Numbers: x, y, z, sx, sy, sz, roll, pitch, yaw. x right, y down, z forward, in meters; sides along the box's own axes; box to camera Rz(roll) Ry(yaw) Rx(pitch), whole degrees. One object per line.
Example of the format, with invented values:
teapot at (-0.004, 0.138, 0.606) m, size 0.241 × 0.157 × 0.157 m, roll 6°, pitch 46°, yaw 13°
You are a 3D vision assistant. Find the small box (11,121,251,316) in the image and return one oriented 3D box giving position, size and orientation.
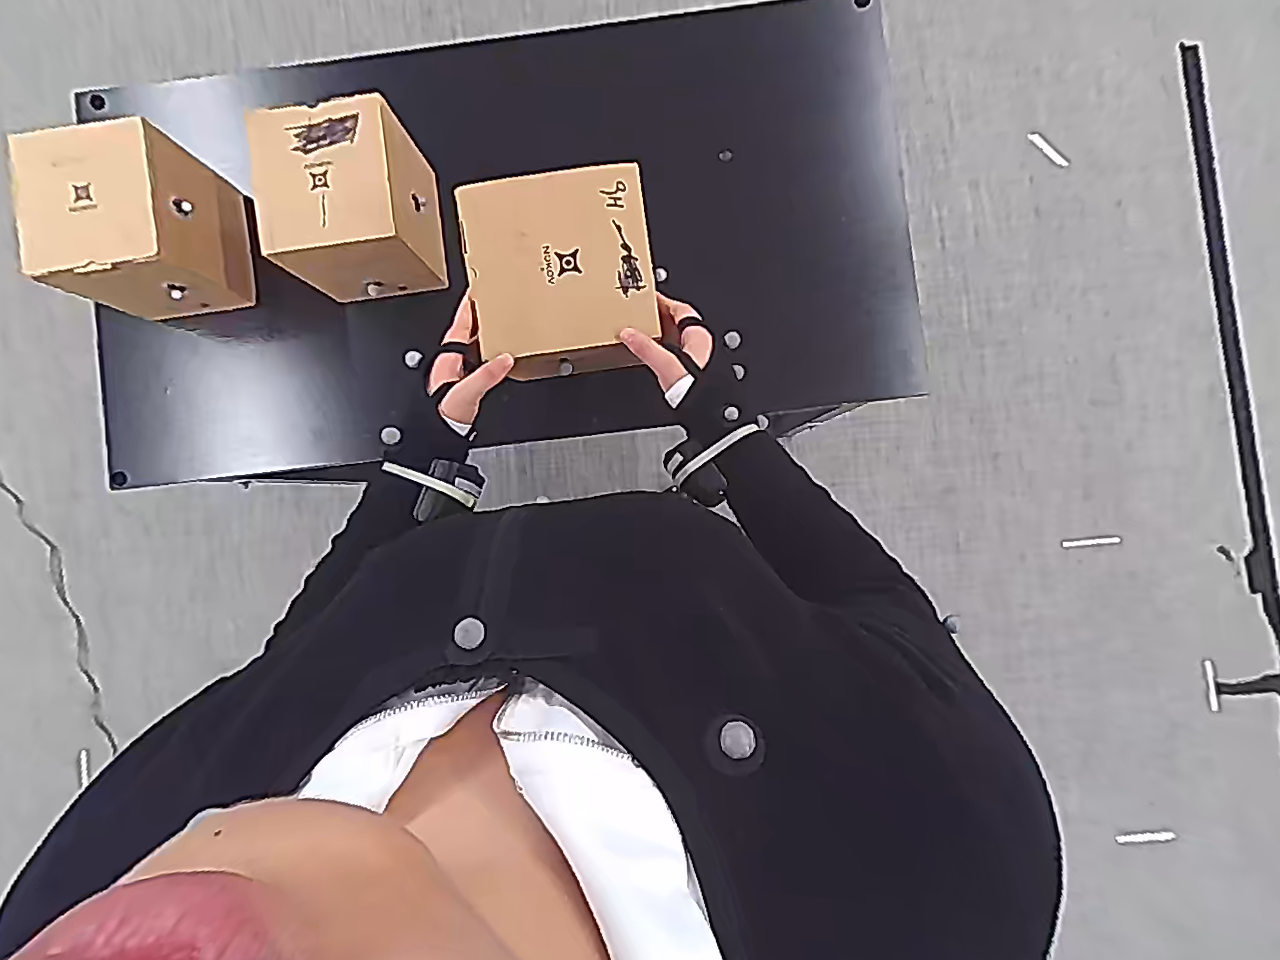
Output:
small box at (-0.664, -0.333, 0.727) m, size 0.168 × 0.176 × 0.179 m, roll -8°, pitch 87°, yaw 0°

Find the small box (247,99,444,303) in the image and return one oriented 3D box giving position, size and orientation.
small box at (-0.378, -0.358, 0.722) m, size 0.168 × 0.176 × 0.179 m, roll -7°, pitch 89°, yaw 1°

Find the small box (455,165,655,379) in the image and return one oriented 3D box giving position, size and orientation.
small box at (-0.080, -0.211, 0.596) m, size 0.179 × 0.176 × 0.168 m, roll -8°, pitch 94°, yaw 0°
